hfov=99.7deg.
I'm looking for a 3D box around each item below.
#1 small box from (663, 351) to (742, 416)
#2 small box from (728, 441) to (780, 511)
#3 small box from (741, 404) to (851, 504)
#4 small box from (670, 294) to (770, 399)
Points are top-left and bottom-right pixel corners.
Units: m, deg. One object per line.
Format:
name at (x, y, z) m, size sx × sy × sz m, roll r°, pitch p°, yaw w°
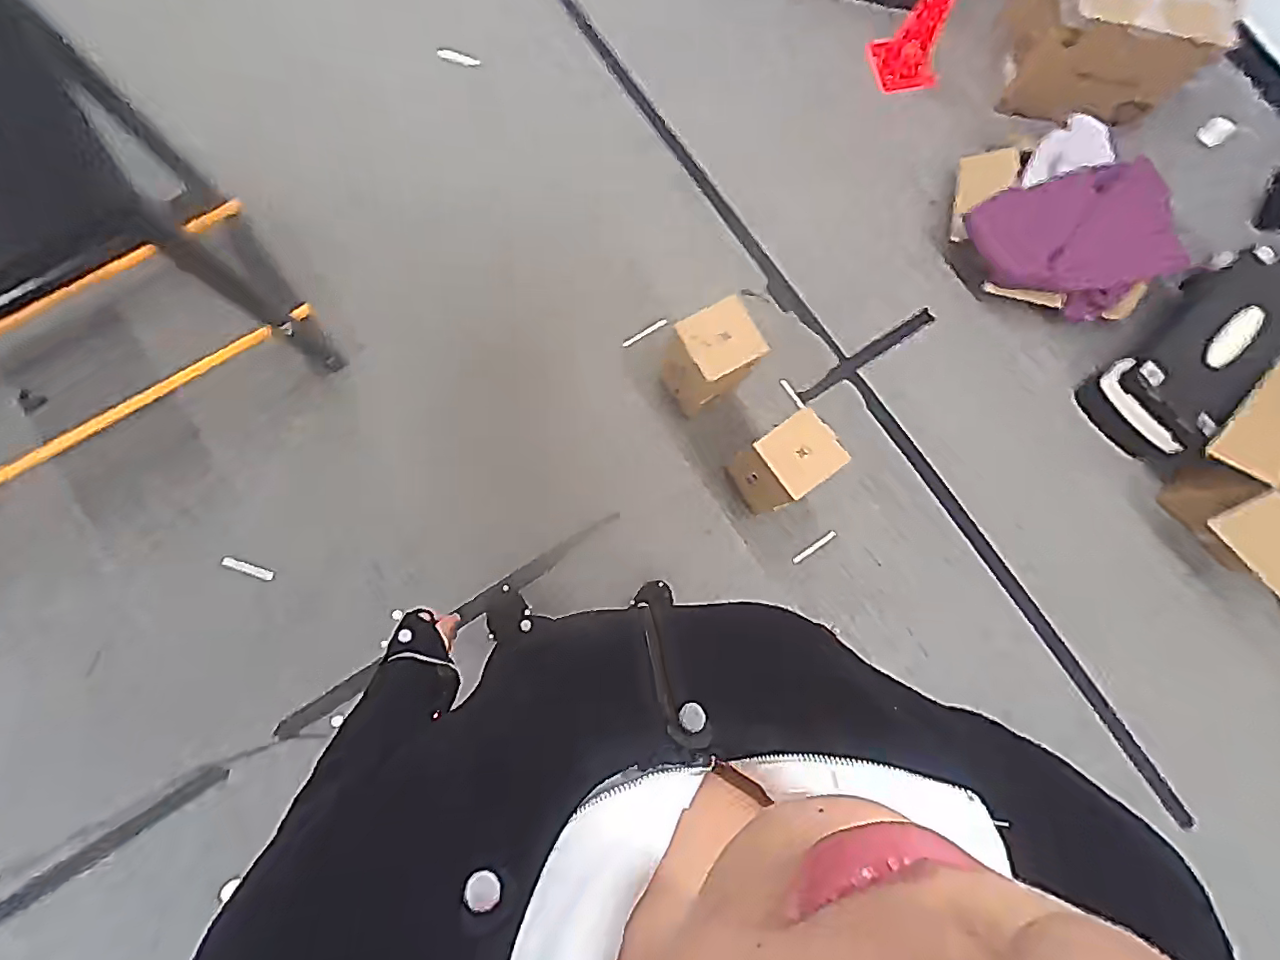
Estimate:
small box at (0.178, -0.304, 1.526) m, size 0.179 × 0.176 × 0.168 m, roll -34°, pitch 85°, yaw -7°
small box at (0.367, -0.029, 1.499) m, size 0.168 × 0.176 × 0.179 m, roll -31°, pitch 86°, yaw -8°
small box at (0.377, -0.058, 1.340) m, size 0.179 × 0.176 × 0.168 m, roll -36°, pitch 84°, yaw -7°
small box at (0.193, -0.329, 1.363) m, size 0.179 × 0.176 × 0.168 m, roll -29°, pitch 84°, yaw -7°
